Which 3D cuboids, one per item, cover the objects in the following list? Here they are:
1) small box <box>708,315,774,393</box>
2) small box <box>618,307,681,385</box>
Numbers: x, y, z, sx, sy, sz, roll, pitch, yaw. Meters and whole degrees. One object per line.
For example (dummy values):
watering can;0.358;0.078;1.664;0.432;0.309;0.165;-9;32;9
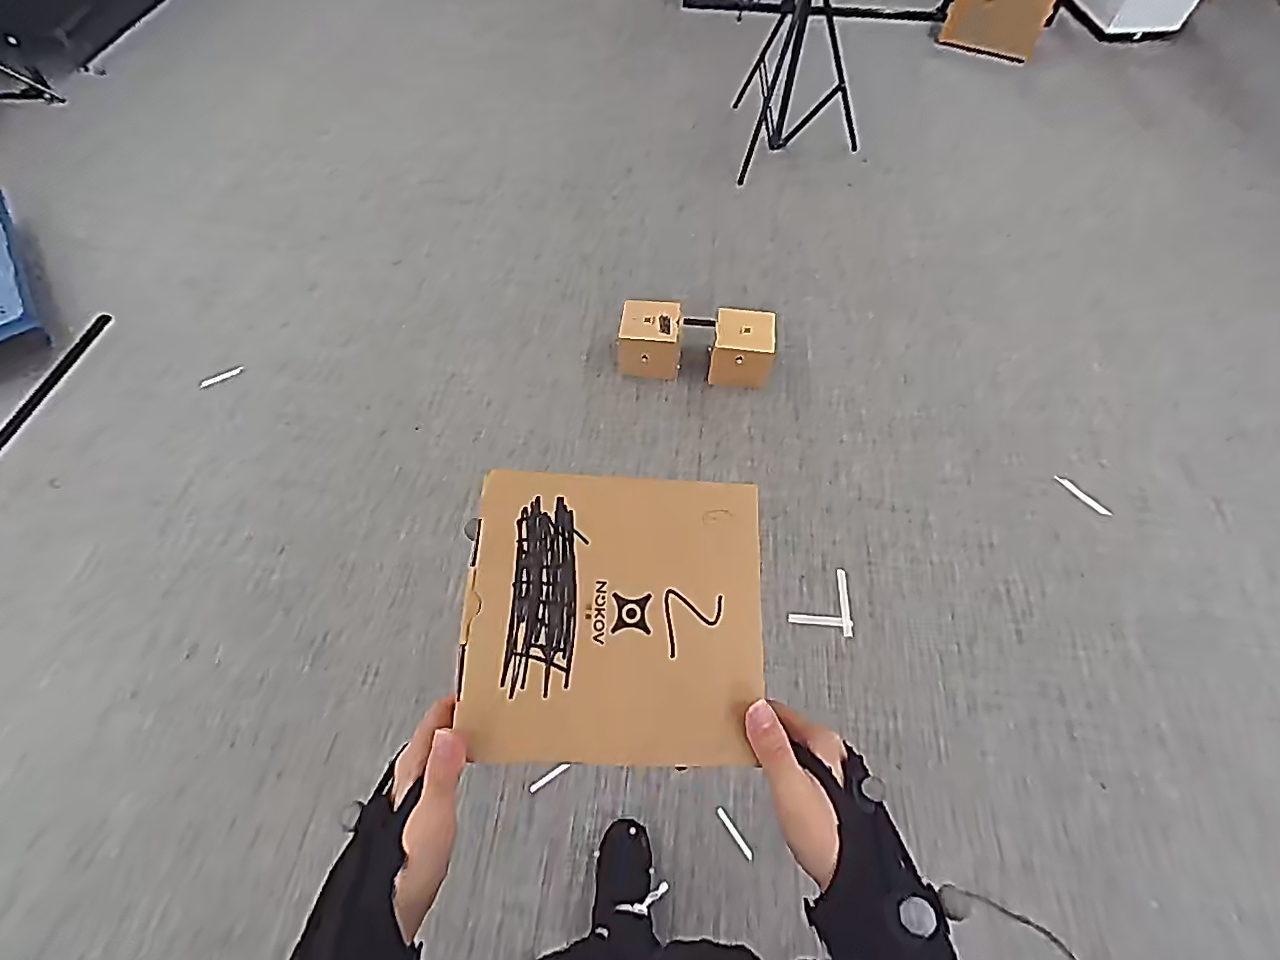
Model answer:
small box;0.313;-0.389;1.689;0.179;0.176;0.168;6;61;5
small box;0.031;-0.417;1.704;0.179;0.176;0.168;5;60;4
